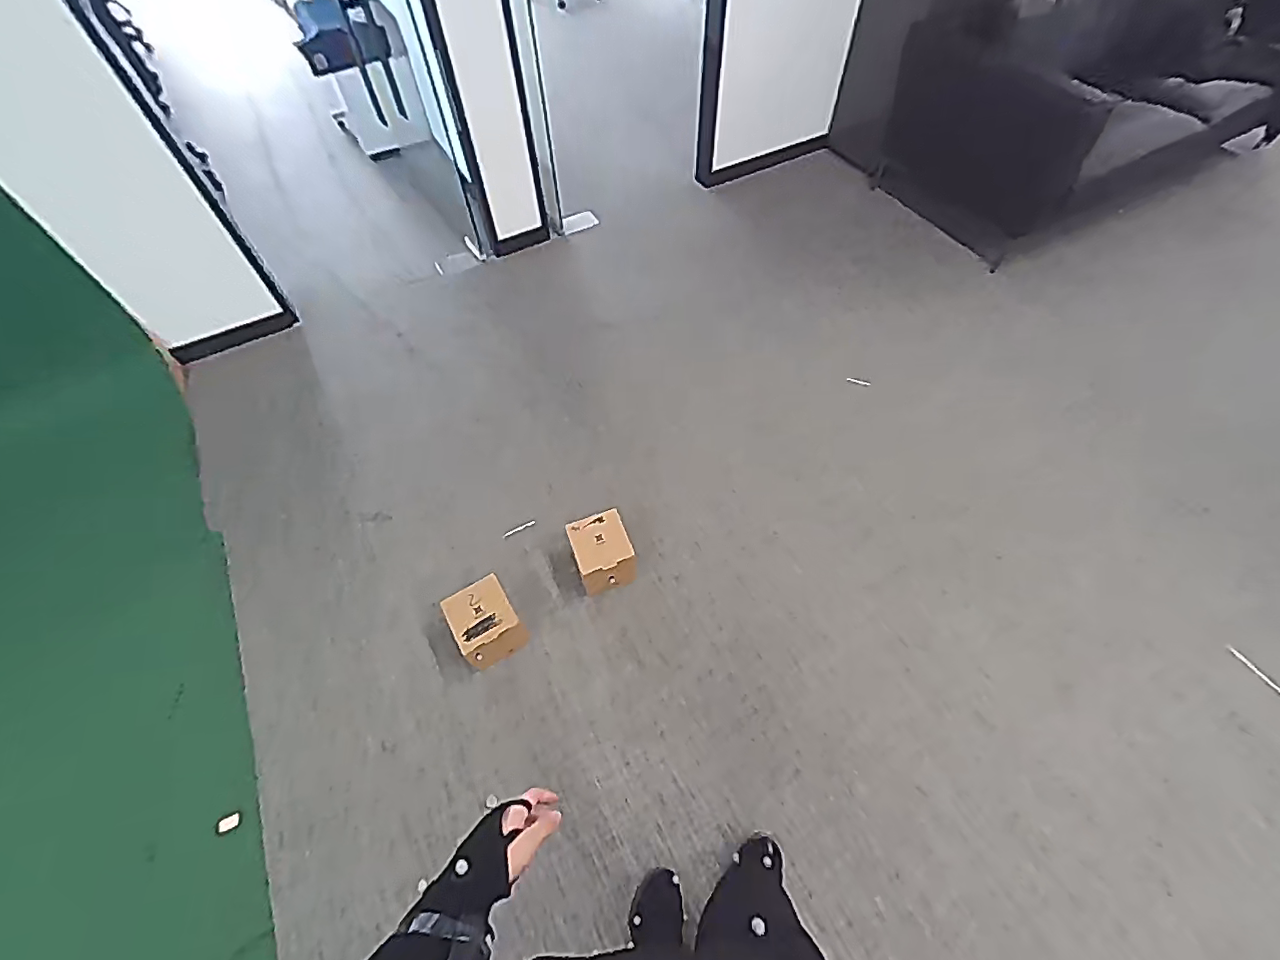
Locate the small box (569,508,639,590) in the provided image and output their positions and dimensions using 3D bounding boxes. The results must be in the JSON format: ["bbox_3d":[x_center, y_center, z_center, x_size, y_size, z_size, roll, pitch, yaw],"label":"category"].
[{"bbox_3d":[-0.106,0.219,1.656,0.168,0.176,0.179,-18,59,-11],"label":"small box"}]
